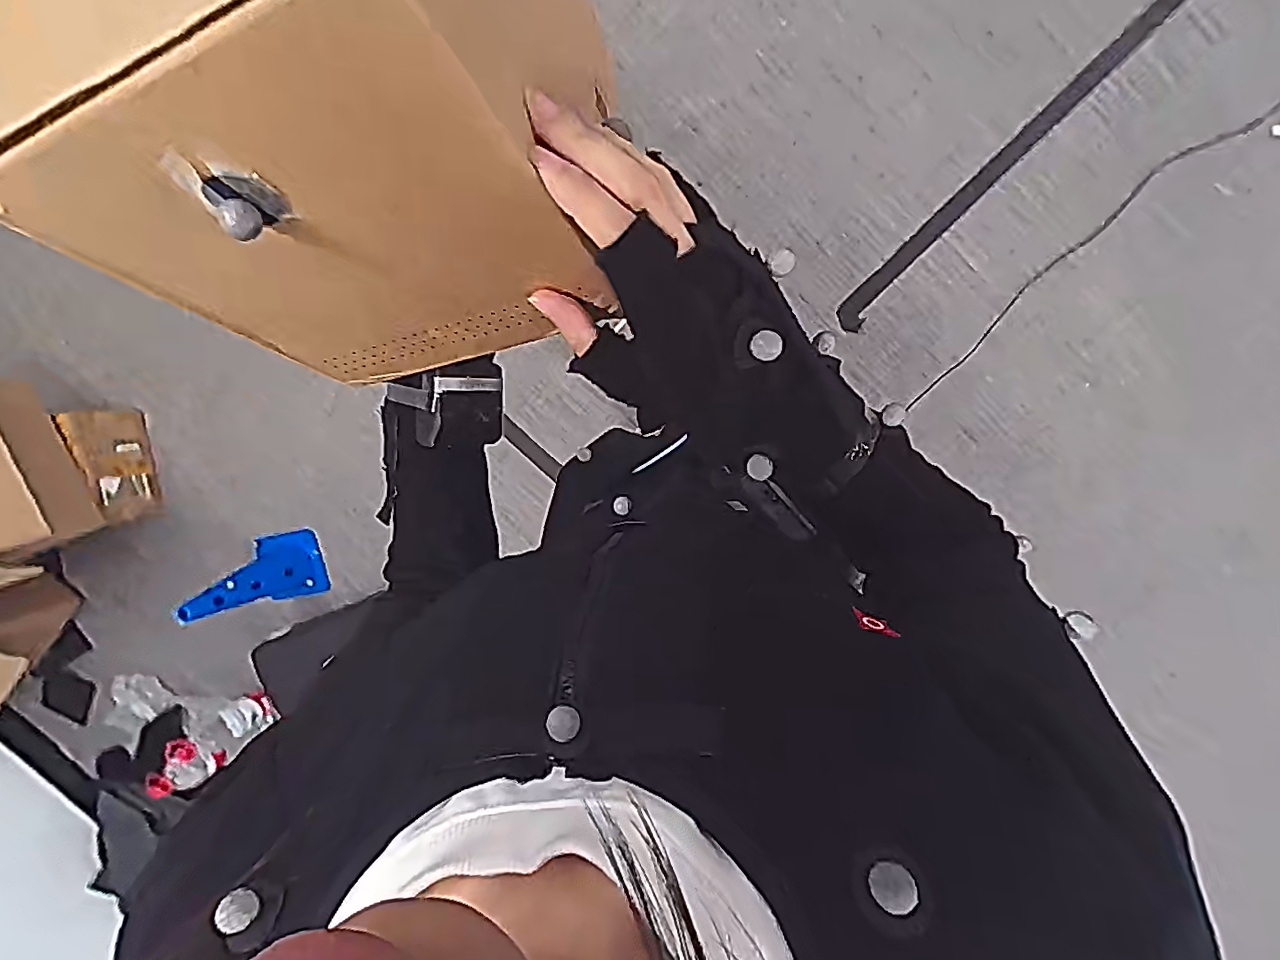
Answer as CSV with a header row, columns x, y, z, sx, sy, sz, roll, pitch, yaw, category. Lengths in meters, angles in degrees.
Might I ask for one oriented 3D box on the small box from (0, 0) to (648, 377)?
x,y,z,sx,sy,sz,roll,pitch,yaw,category
-0.108,-0.161,0.239,0.179,0.176,0.168,-8,76,18,small box
